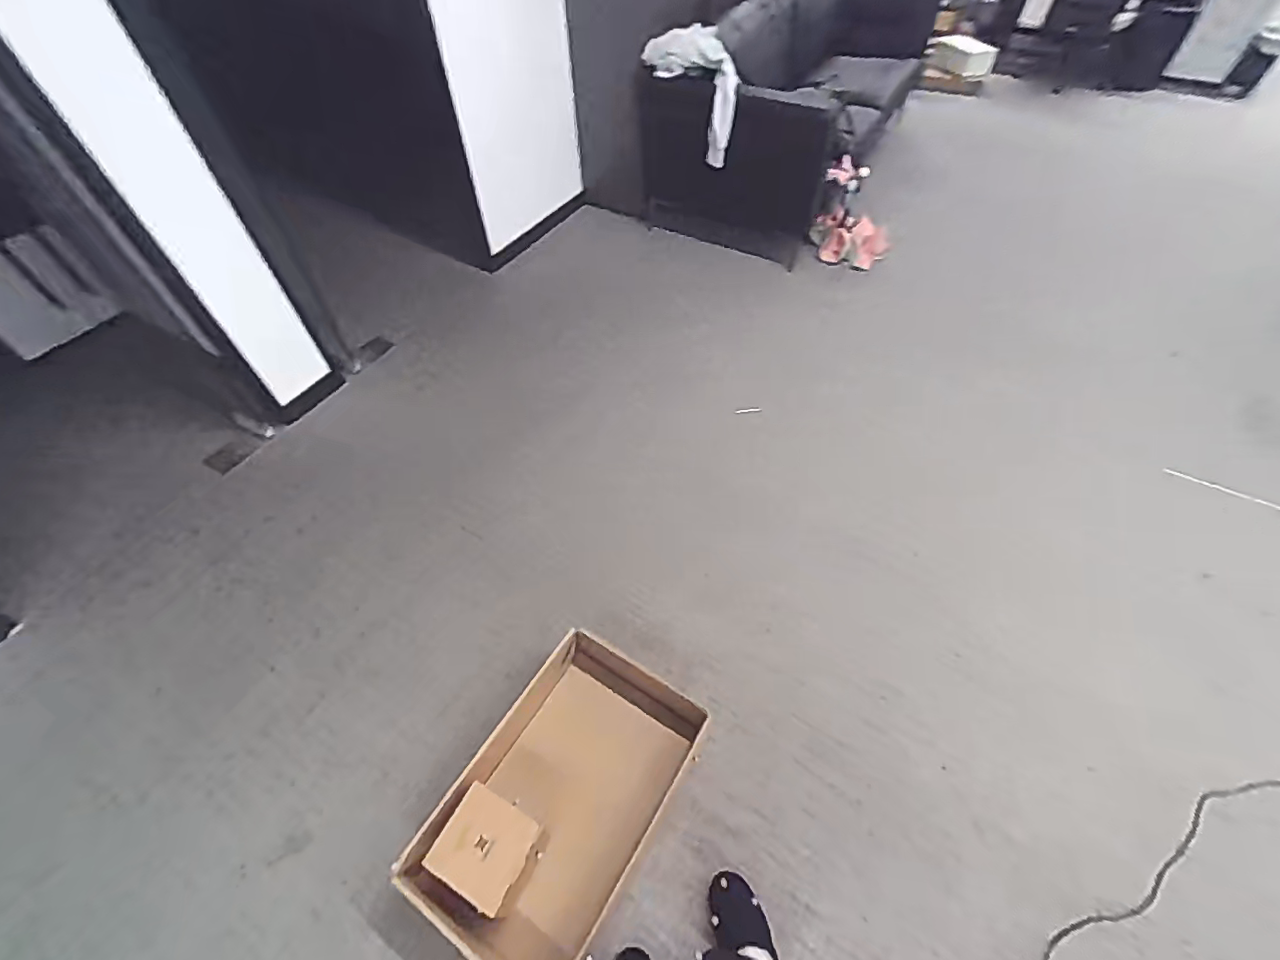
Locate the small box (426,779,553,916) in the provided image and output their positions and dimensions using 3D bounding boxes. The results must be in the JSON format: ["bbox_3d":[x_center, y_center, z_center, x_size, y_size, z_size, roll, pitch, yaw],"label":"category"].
[{"bbox_3d":[-0.299,0.758,1.123,0.179,0.176,0.168,24,56,18],"label":"small box"}]
